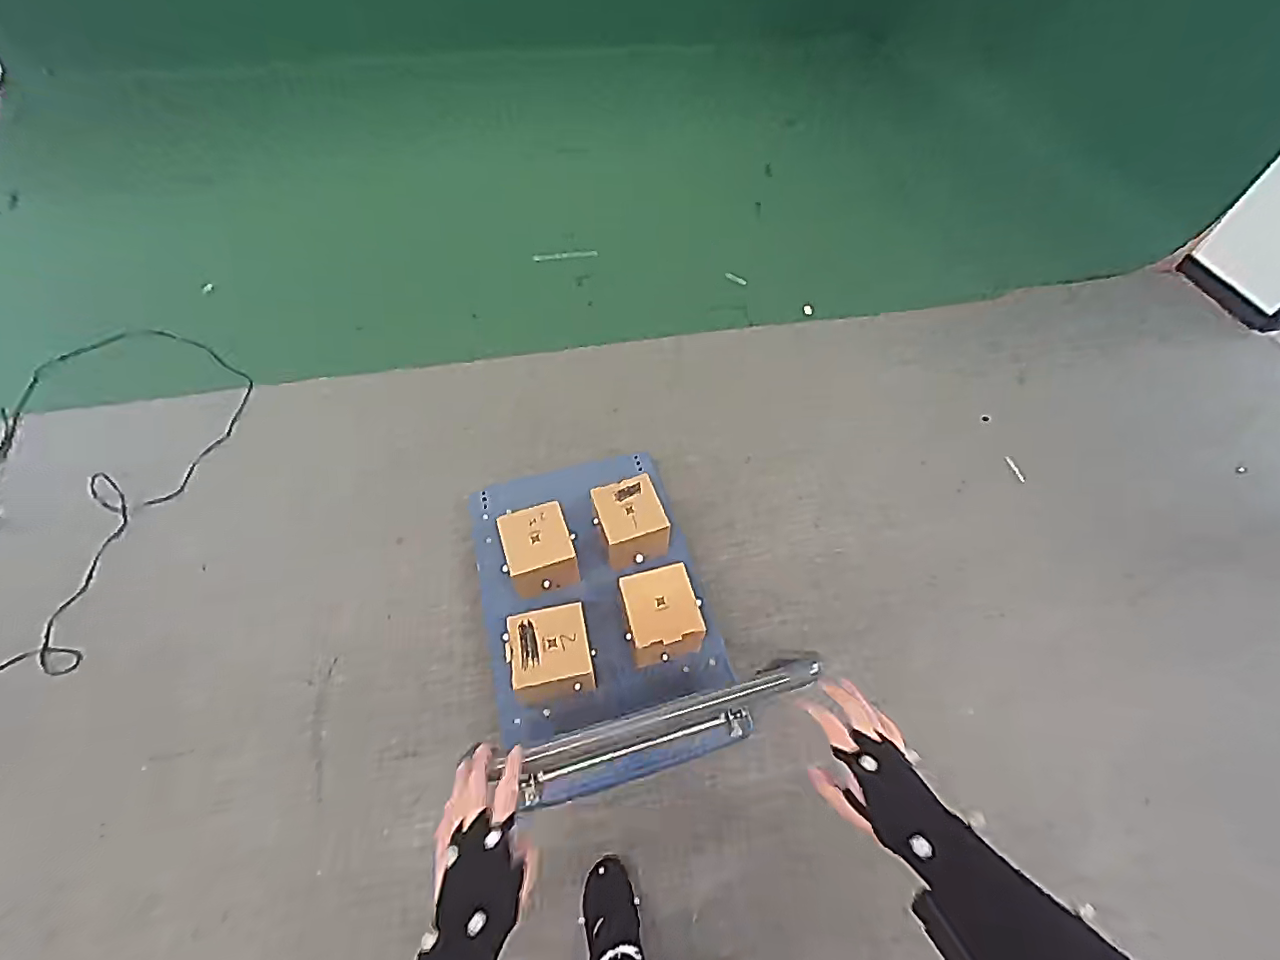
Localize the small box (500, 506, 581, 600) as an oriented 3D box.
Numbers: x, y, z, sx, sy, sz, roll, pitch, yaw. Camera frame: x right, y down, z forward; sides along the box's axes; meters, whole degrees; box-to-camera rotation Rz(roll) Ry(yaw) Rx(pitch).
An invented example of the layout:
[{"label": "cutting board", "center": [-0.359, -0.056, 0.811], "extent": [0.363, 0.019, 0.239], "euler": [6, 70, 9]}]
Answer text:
[{"label": "small box", "center": [-0.262, 0.203, 1.445], "extent": [0.168, 0.176, 0.179], "euler": [-16, 57, -12]}]

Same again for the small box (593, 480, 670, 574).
[{"label": "small box", "center": [-0.026, 0.132, 1.496], "extent": [0.168, 0.176, 0.179], "euler": [-17, 58, -11]}]

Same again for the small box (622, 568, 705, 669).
[{"label": "small box", "center": [0.050, 0.348, 1.351], "extent": [0.168, 0.176, 0.179], "euler": [-12, 57, -9]}]
